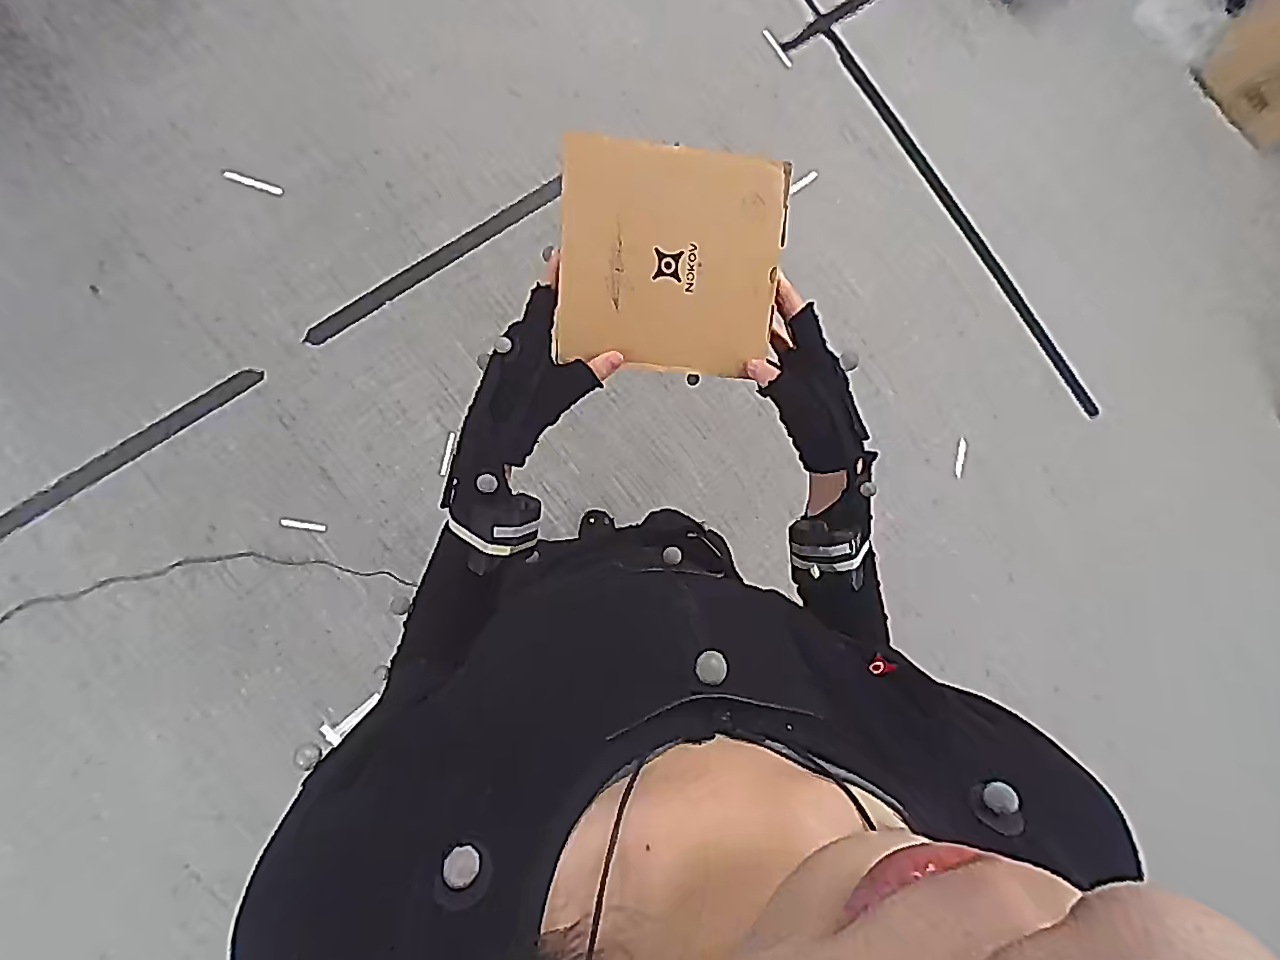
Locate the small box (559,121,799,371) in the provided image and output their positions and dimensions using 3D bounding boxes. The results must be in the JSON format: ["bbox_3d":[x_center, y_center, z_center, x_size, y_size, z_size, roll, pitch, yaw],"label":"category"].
[{"bbox_3d":[0.018,-0.192,0.485,0.179,0.176,0.168,1,105,-8],"label":"small box"}]

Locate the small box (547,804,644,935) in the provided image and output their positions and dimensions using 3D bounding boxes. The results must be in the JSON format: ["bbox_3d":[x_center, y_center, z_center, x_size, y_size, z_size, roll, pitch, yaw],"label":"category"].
[{"bbox_3d":[-0.117,0.943,1.336,0.168,0.176,0.179,-36,92,-11],"label":"small box"}]
